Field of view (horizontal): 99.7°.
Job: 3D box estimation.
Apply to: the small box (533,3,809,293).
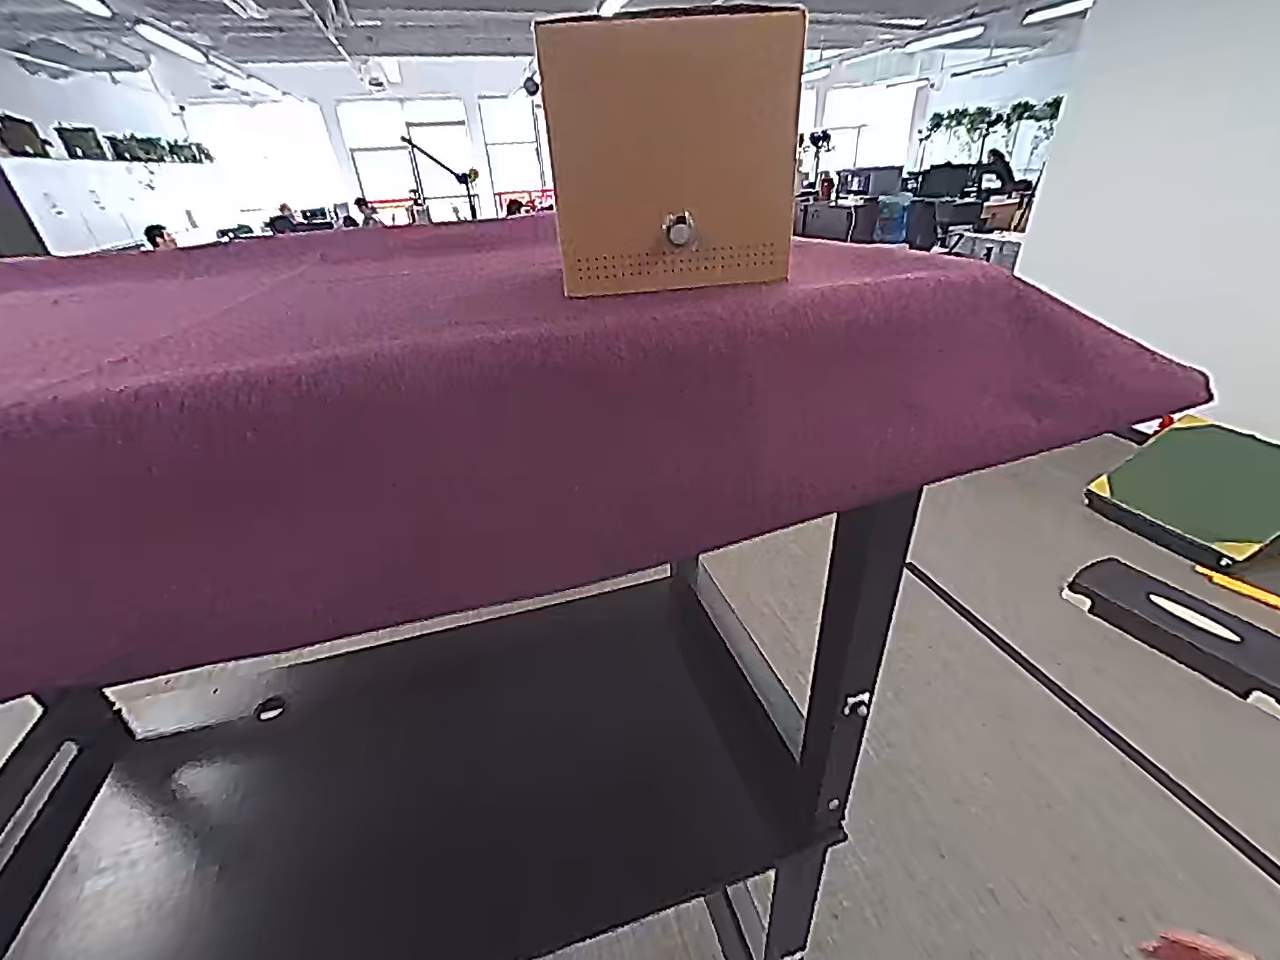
[{"bbox_3d":[0.016,-0.257,0.441,0.179,0.176,0.168,-6,30,-4],"label":"small box"}]
